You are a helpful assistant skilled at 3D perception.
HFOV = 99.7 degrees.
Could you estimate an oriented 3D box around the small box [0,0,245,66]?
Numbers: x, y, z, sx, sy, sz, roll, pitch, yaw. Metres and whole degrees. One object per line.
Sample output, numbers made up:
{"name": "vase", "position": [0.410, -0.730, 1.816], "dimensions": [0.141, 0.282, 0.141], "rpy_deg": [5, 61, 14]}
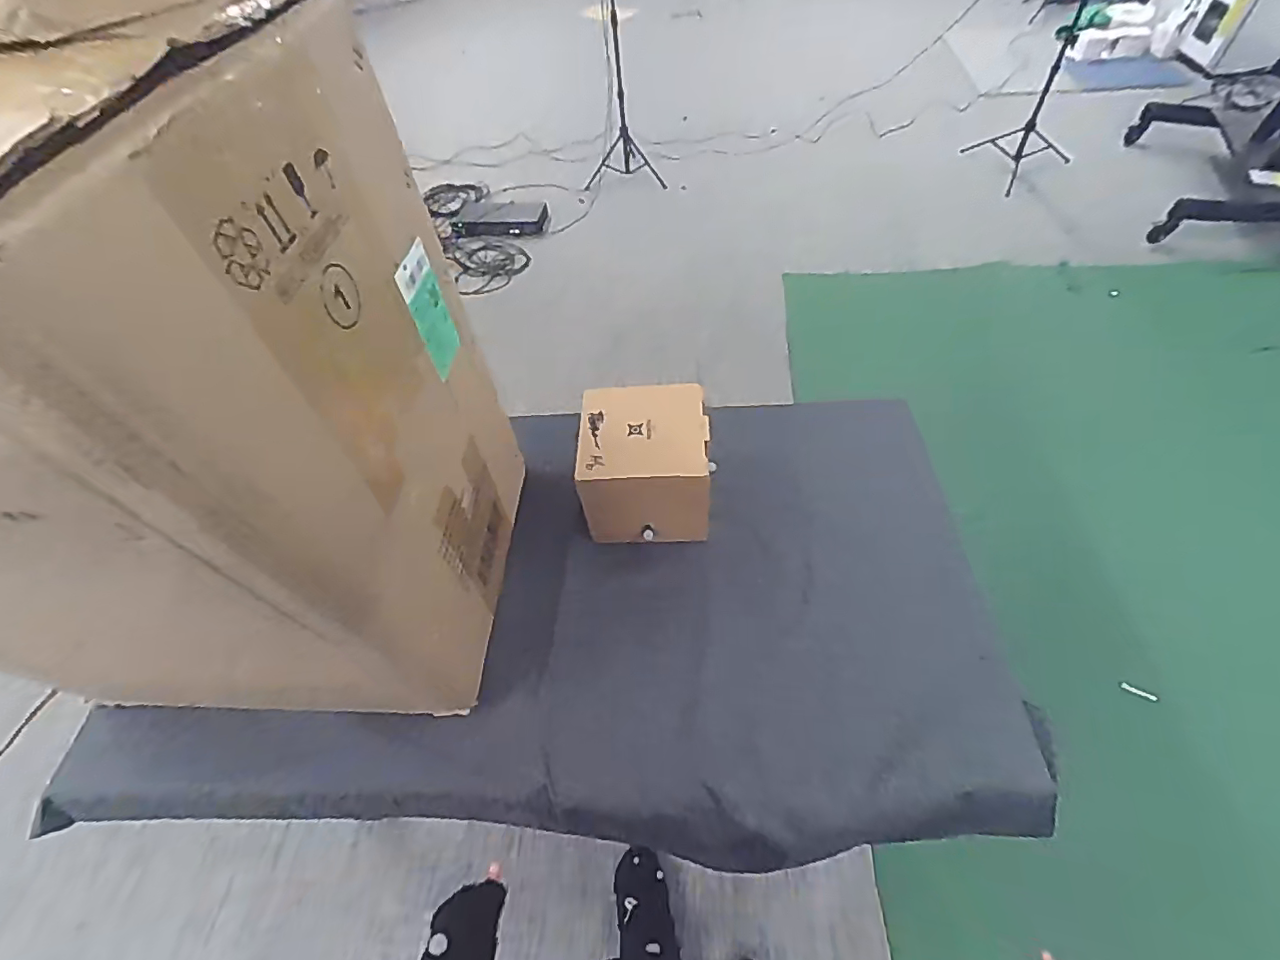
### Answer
{"name": "small box", "position": [-0.384, -0.348, 0.300], "dimensions": [0.179, 0.176, 0.168], "rpy_deg": [1, 50, 5]}
